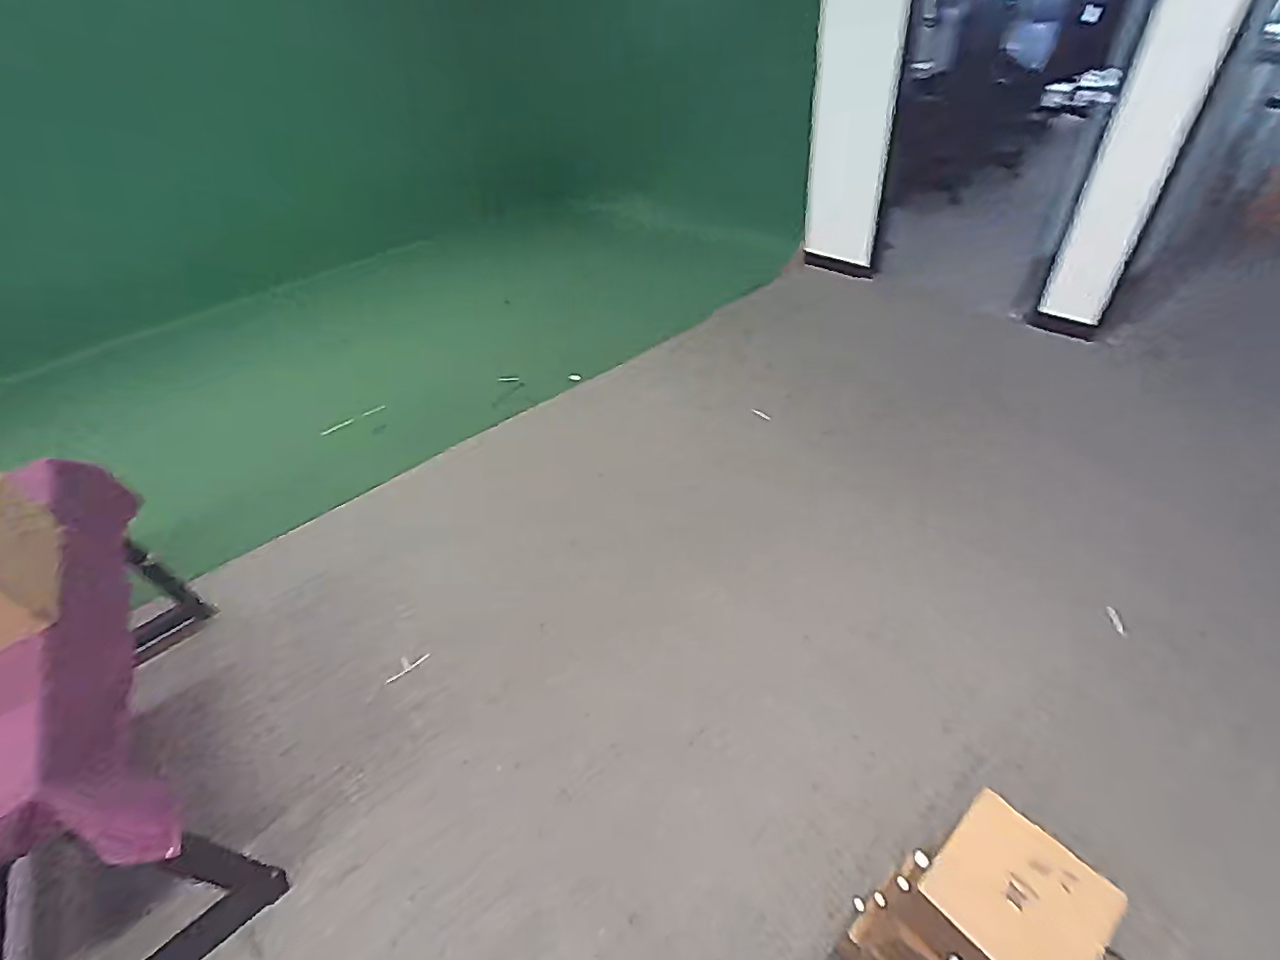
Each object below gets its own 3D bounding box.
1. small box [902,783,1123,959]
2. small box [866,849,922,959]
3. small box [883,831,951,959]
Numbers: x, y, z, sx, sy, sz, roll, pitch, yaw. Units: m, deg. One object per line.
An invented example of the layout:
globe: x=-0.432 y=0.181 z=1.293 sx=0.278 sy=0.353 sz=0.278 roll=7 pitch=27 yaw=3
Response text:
small box: x=0.472 y=0.555 z=0.713 sx=0.179 sy=0.176 sz=0.168 roll=-34 pitch=47 yaw=-23
small box: x=0.507 y=0.796 z=0.933 sx=0.168 sy=0.176 sz=0.179 roll=24 pitch=52 yaw=32
small box: x=0.495 y=0.683 z=0.815 sx=0.179 sy=0.176 sz=0.168 roll=27 pitch=54 yaw=35
